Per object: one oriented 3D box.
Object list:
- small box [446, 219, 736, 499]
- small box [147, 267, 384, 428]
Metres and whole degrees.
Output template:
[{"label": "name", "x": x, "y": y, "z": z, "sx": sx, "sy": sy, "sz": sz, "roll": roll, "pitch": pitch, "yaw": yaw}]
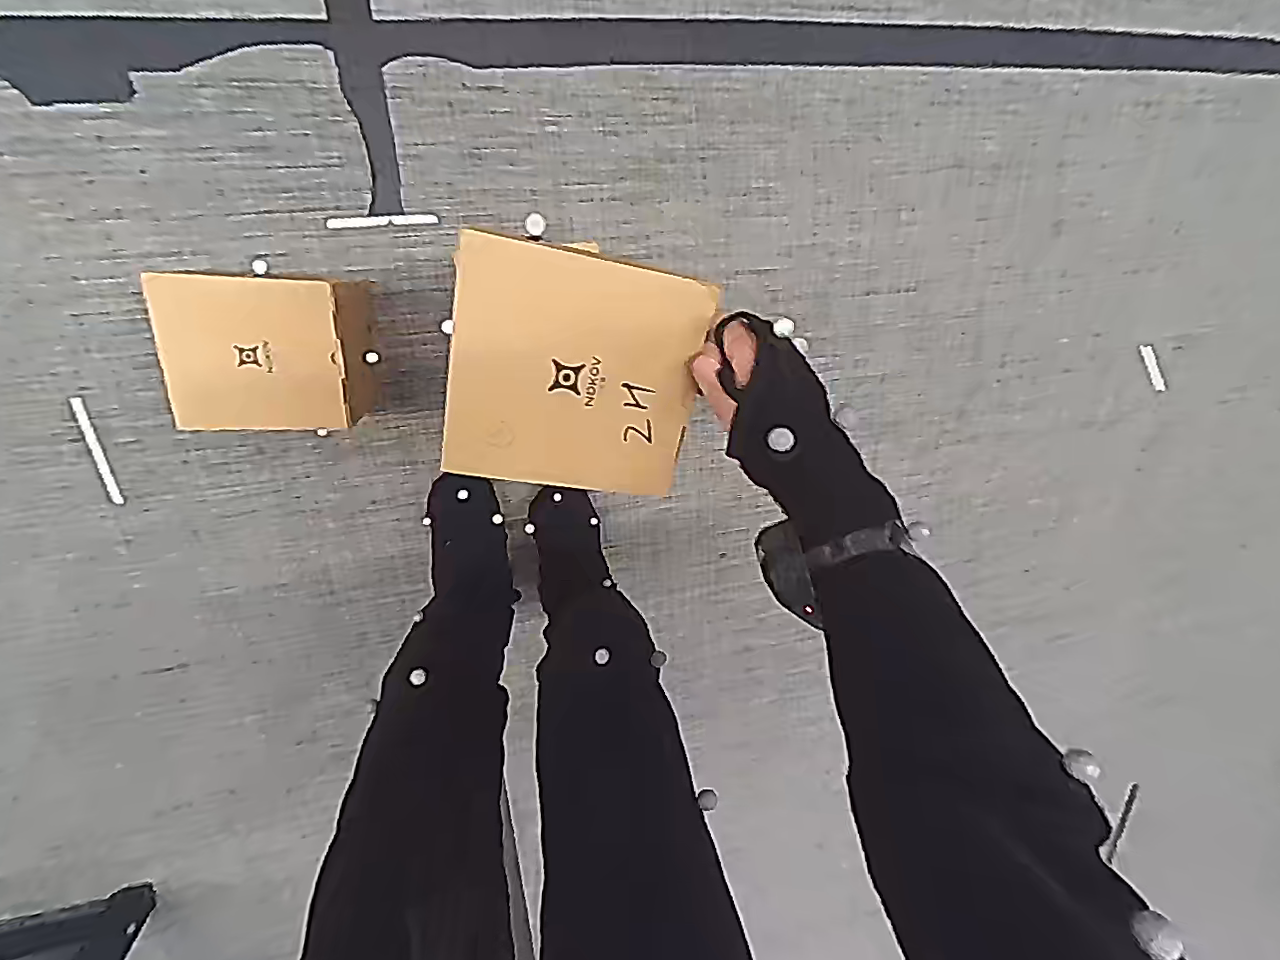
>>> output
[{"label": "small box", "x": -0.050, "y": -0.102, "z": 0.441, "sx": 0.179, "sy": 0.176, "sz": 0.168, "roll": 7, "pitch": 114, "yaw": -16}, {"label": "small box", "x": -0.428, "y": -0.163, "z": 0.654, "sx": 0.179, "sy": 0.176, "sz": 0.168, "roll": -2, "pitch": 111, "yaw": -14}]
